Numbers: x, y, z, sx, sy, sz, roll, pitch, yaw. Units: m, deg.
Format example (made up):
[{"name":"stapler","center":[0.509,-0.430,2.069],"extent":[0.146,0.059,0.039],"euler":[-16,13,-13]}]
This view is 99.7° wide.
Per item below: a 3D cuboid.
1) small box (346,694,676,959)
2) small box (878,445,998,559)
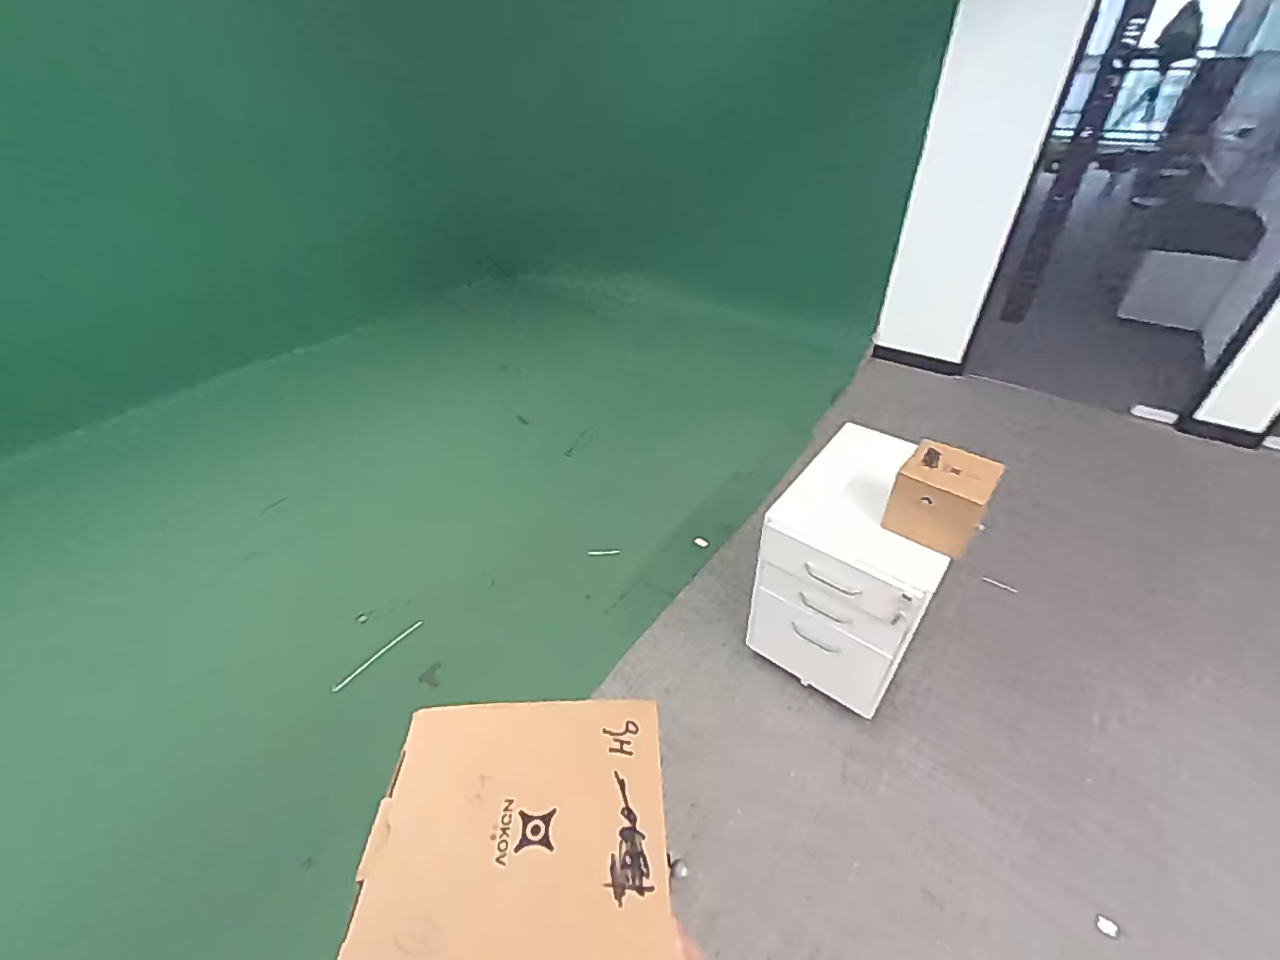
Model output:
[{"name":"small box","center":[-0.068,0.275,0.385],"extent":[0.179,0.176,0.168],"euler":[0,37,-1]},{"name":"small box","center":[0.673,0.051,1.237],"extent":[0.179,0.176,0.168],"euler":[28,48,32]}]
